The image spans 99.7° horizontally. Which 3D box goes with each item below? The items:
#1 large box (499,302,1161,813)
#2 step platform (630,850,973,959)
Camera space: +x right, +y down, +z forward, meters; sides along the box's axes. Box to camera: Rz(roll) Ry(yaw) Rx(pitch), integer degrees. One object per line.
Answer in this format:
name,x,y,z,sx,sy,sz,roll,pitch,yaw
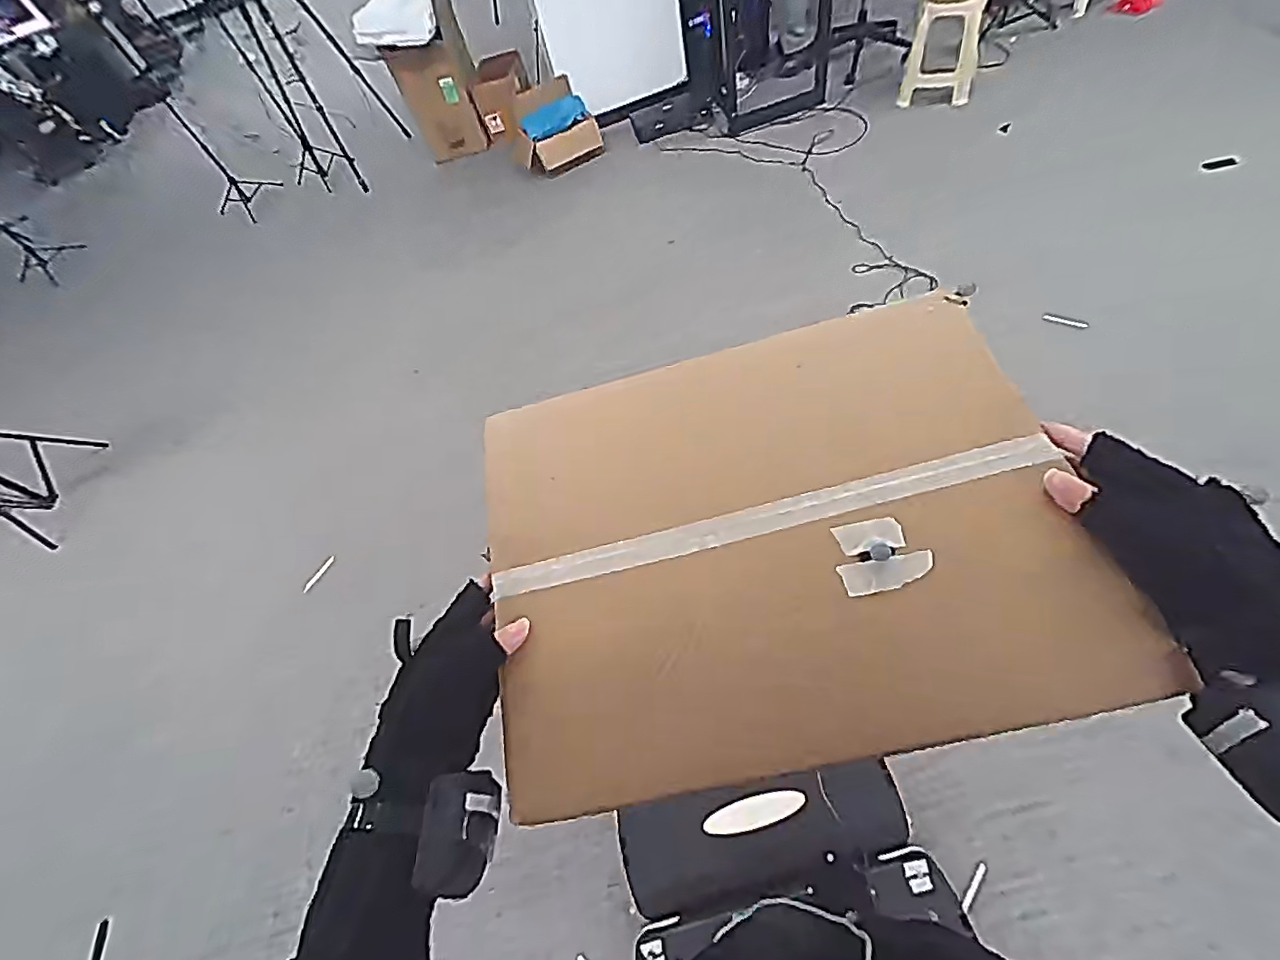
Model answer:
large box,0.119,0.097,0.534,0.408,0.320,0.320,-15,63,6
step platform,0.324,1.021,1.113,0.684,0.204,0.286,-20,54,3
